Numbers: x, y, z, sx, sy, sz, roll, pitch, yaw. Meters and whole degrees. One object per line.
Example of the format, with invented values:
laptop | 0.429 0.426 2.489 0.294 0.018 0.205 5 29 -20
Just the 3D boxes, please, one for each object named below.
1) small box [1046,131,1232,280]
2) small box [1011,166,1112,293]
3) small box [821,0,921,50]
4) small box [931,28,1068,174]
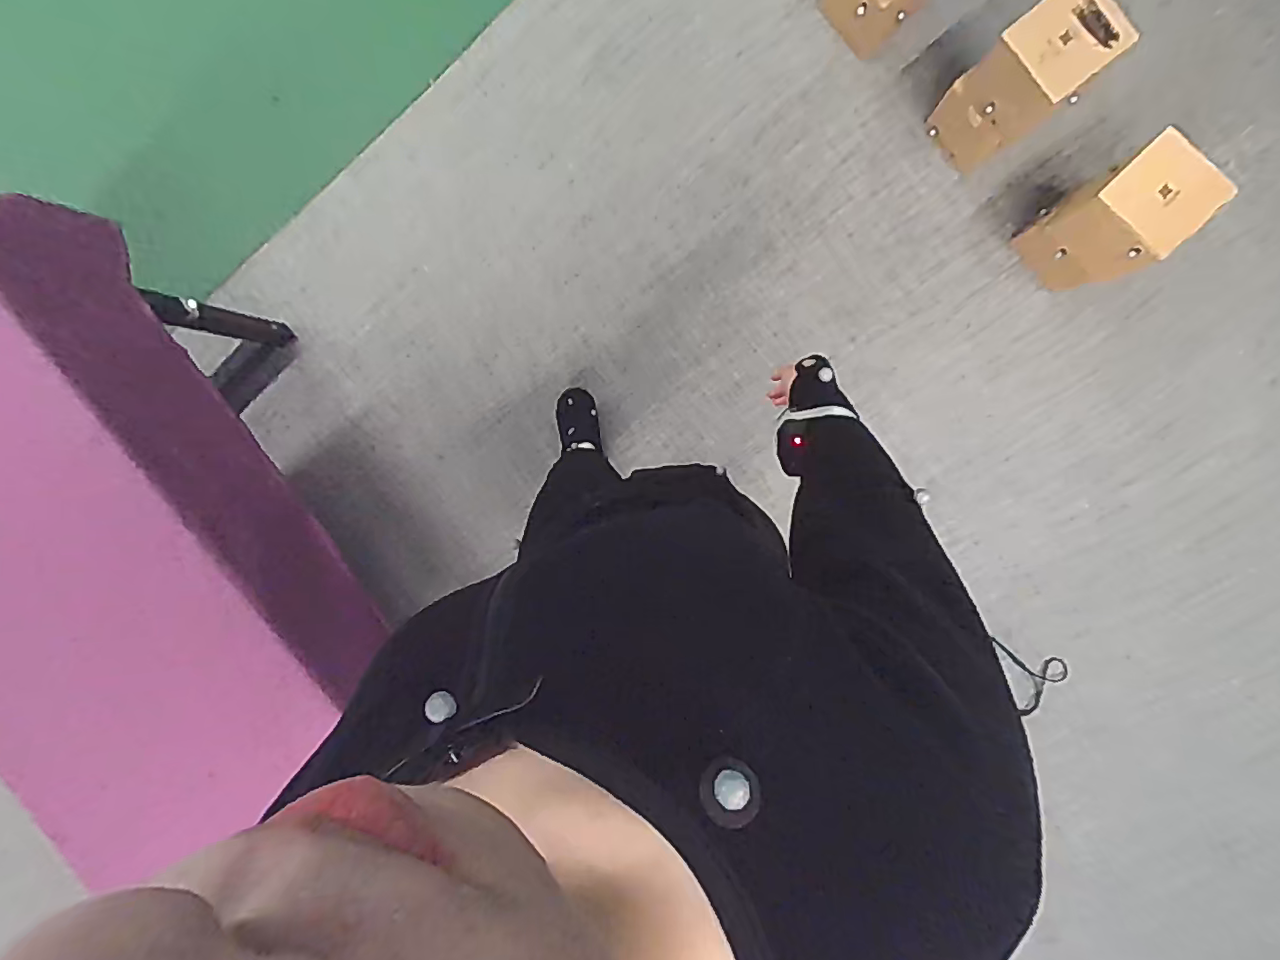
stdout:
small box | 0.973 -0.531 1.076 0.179 0.176 0.168 45 99 1
small box | 1.004 -0.558 1.233 0.168 0.176 0.179 -40 90 10
small box | 0.546 -1.142 1.236 0.168 0.176 0.179 -38 90 8
small box | 0.799 -0.848 1.232 0.179 0.176 0.168 -37 90 8
